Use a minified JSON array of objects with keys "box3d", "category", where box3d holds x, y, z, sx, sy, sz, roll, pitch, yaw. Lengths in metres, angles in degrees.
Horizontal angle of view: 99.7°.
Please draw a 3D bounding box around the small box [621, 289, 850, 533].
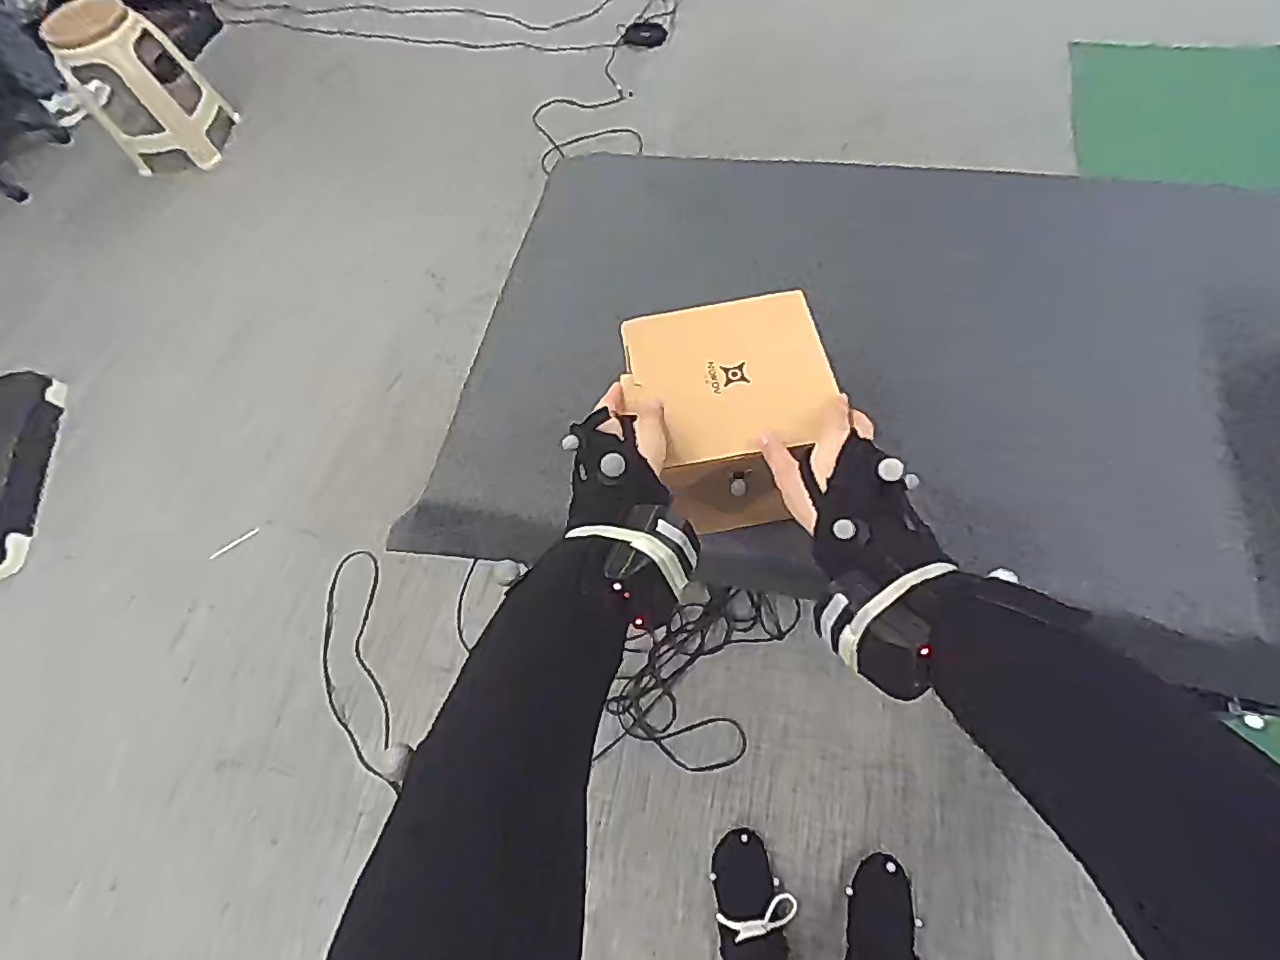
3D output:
[{"box3d":[0.083,-0.059,0.544,0.179,0.176,0.168,-9,64,2],"category":"small box"}]
